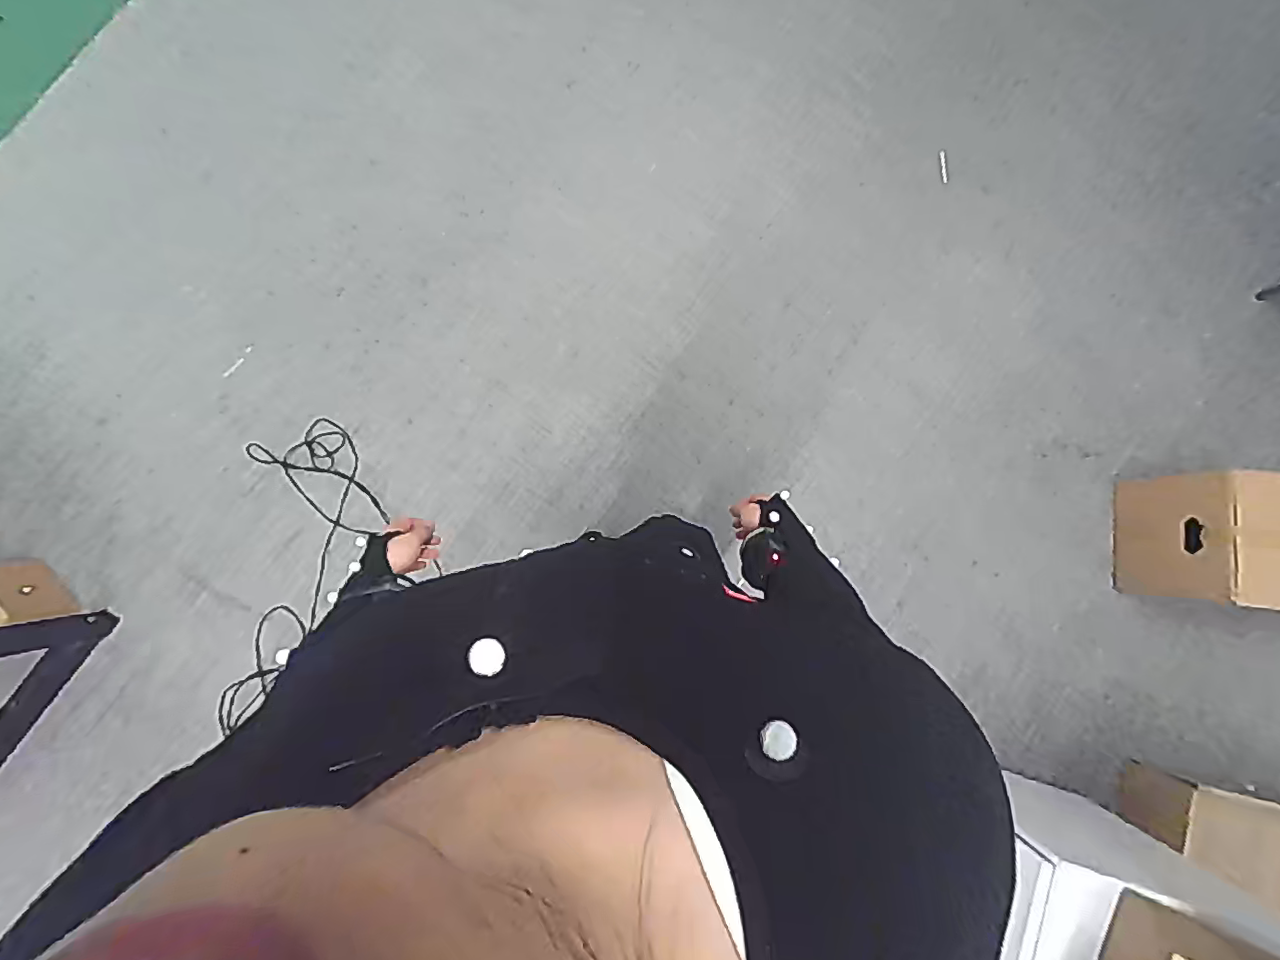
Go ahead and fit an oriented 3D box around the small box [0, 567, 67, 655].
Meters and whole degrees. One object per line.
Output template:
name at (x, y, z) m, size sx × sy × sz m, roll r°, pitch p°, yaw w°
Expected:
small box at (-1.638, 0.336, 1.367) m, size 0.168 × 0.176 × 0.179 m, roll -42°, pitch 87°, yaw -5°
